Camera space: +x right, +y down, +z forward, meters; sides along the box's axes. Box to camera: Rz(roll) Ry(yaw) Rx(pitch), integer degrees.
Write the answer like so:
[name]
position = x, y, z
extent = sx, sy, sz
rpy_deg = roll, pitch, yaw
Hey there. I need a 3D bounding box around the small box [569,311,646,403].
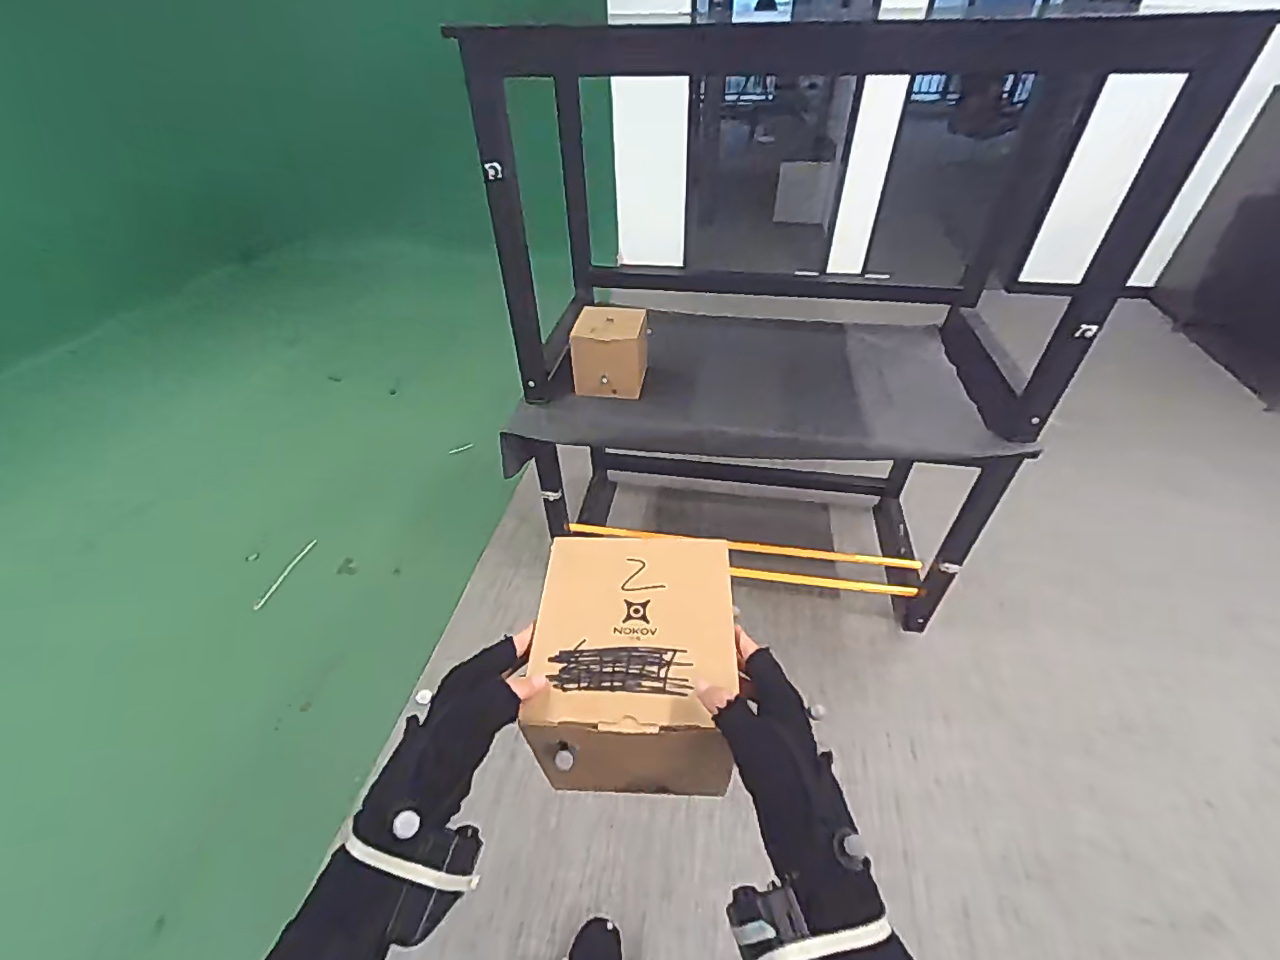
[small box]
position = -0.078, -0.318, 1.394
extent = 0.168, 0.176, 0.179
rpy_deg = 4, 41, 7
